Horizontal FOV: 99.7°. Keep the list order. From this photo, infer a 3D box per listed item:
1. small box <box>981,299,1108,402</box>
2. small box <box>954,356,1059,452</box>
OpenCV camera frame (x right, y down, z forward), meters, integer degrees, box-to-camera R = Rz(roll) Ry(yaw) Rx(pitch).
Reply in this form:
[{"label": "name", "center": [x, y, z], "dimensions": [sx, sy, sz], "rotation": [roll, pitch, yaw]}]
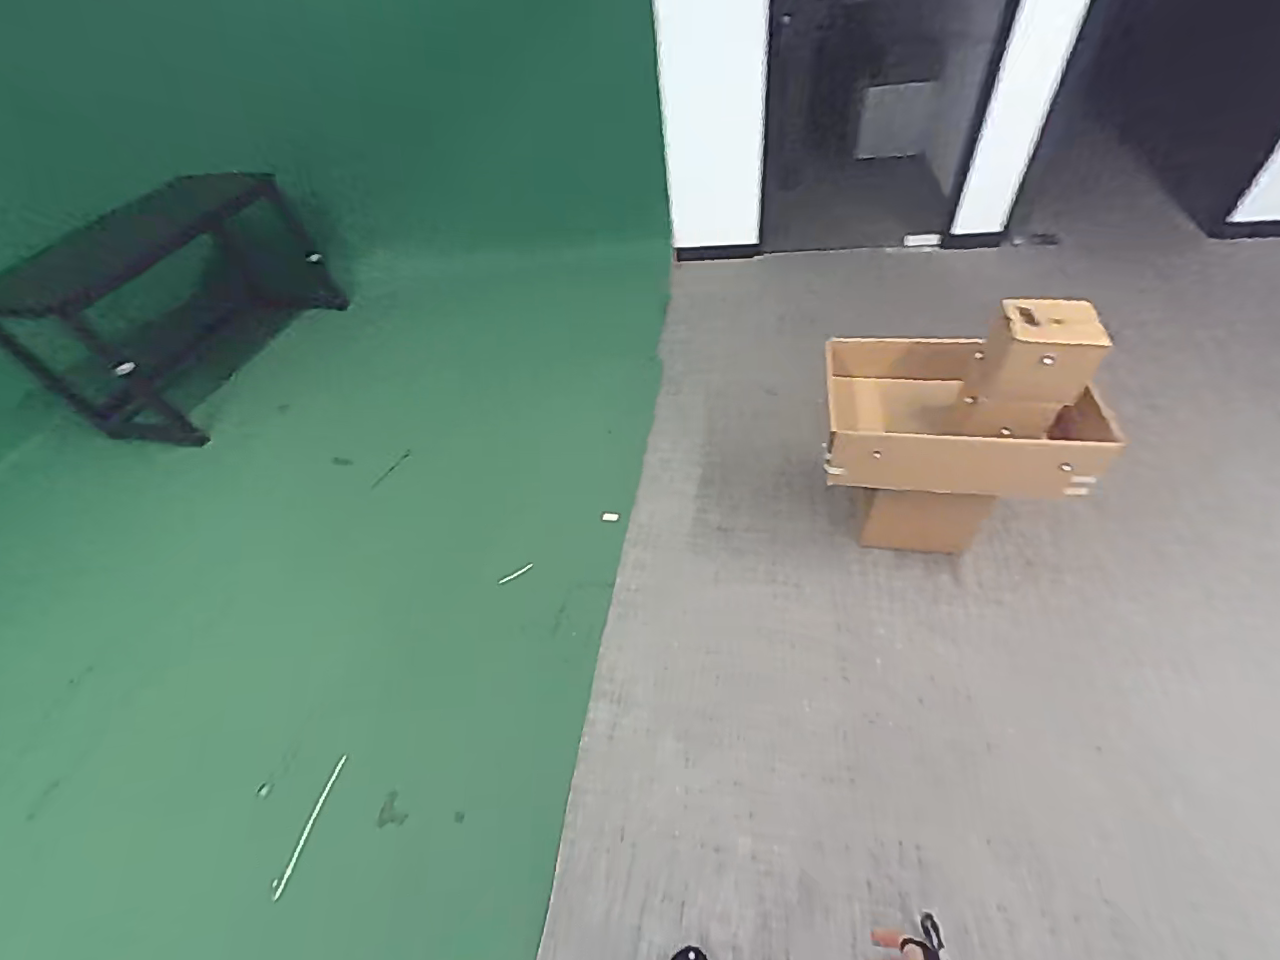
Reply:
[{"label": "small box", "center": [0.905, -0.295, 1.235], "dimensions": [0.179, 0.176, 0.168], "rotation": [6, 50, 14]}, {"label": "small box", "center": [0.912, -0.189, 1.361], "dimensions": [0.168, 0.176, 0.179], "rotation": [7, 50, 15]}]
